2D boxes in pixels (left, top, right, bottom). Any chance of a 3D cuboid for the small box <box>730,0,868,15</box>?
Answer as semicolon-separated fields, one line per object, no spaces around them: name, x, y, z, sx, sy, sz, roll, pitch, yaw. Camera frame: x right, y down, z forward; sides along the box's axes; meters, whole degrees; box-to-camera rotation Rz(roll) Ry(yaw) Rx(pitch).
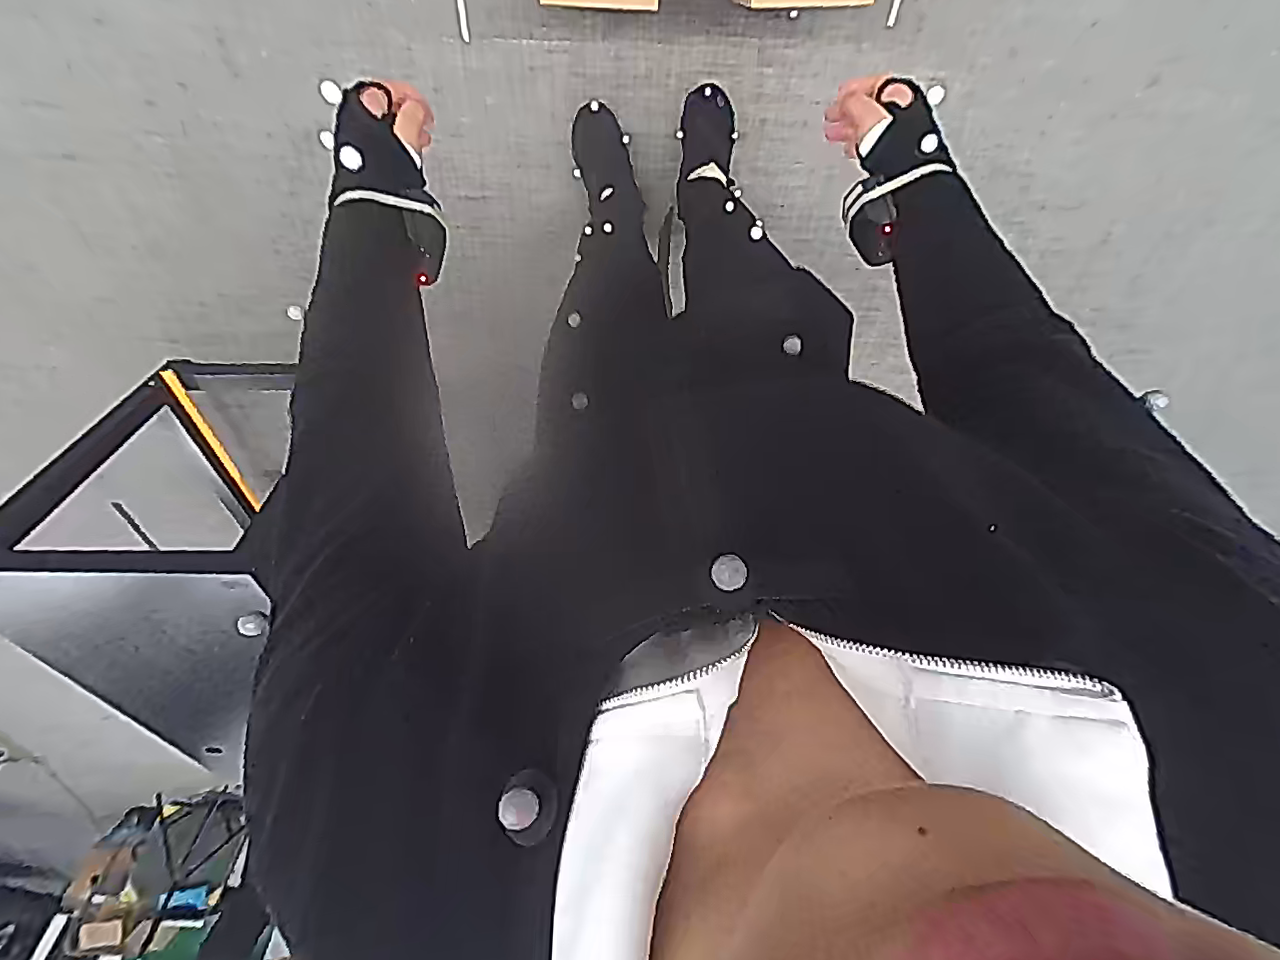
small box;0.229;-0.770;0.763;0.179;0.176;0.168;-2;134;-2

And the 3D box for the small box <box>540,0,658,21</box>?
small box;-0.055;-0.768;0.756;0.168;0.176;0.179;1;135;-1
